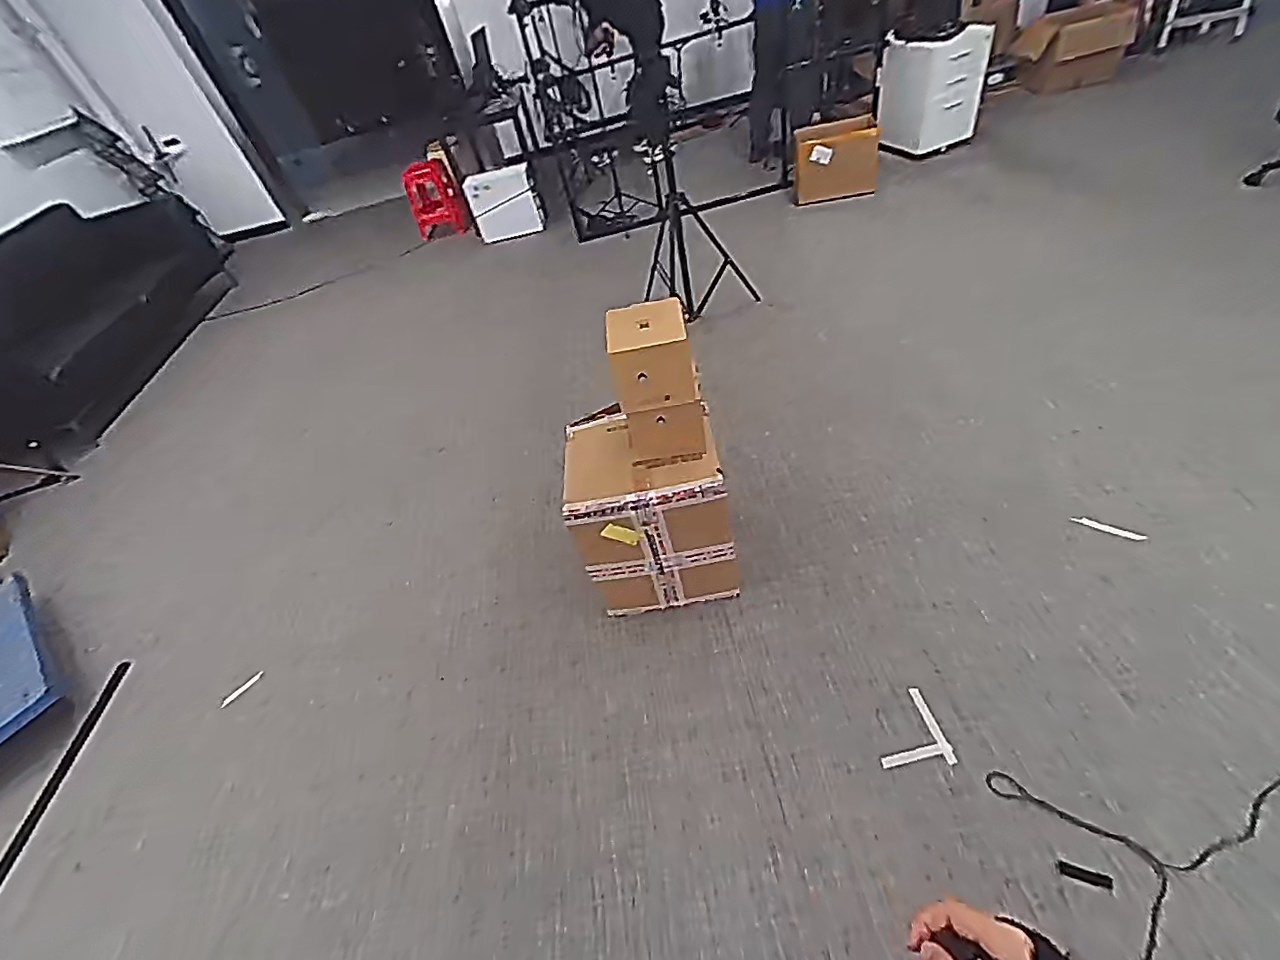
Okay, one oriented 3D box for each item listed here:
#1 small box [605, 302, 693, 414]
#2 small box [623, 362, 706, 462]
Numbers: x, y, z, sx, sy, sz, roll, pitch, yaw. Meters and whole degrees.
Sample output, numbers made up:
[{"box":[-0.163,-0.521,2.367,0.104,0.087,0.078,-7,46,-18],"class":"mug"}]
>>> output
[{"box":[0.021,-0.263,1.201,0.168,0.176,0.179,-10,45,5],"class":"small box"},{"box":[0.061,-0.161,1.321,0.179,0.176,0.168,-8,47,6],"class":"small box"}]
